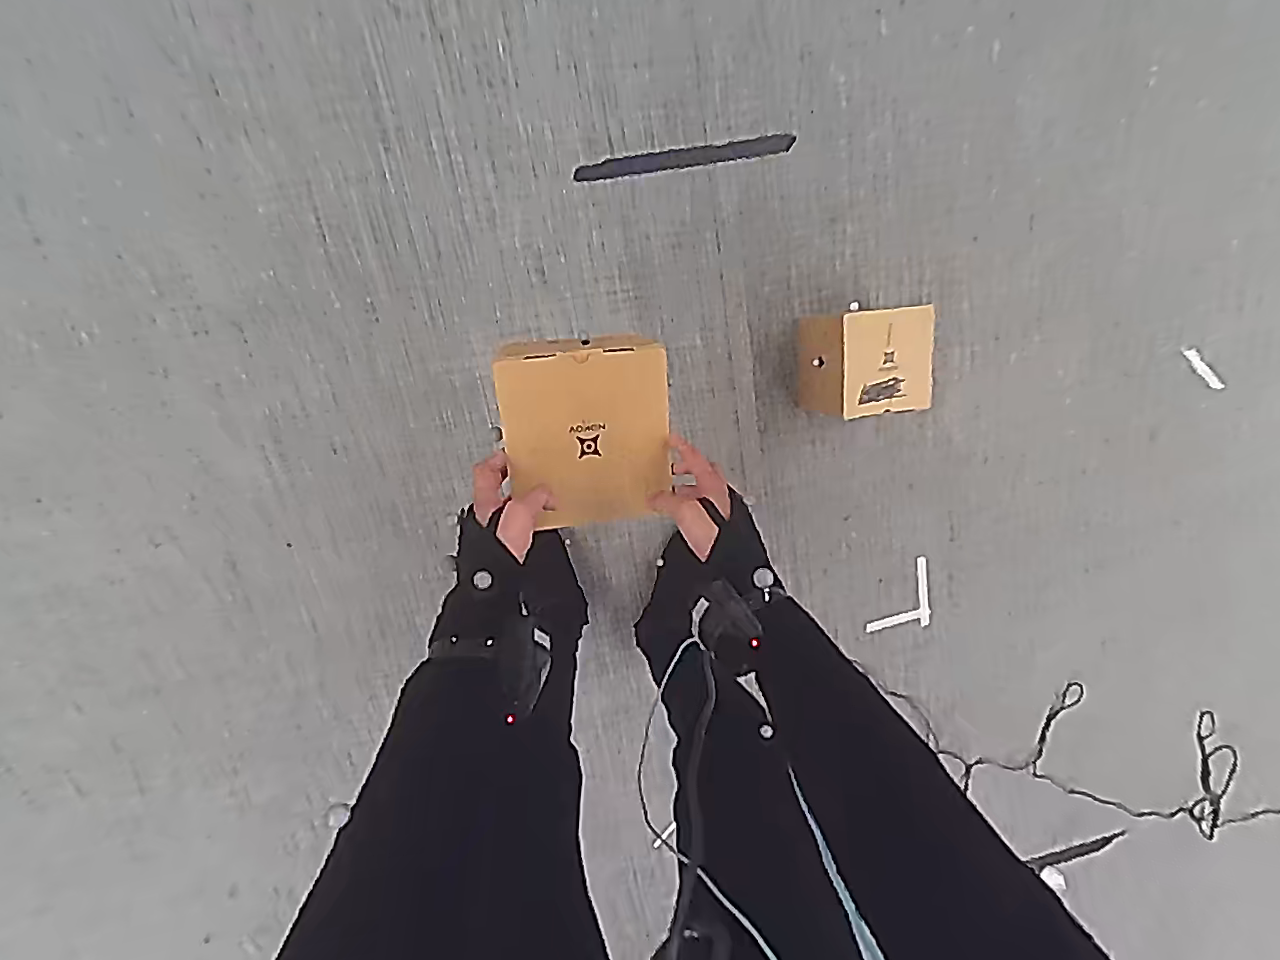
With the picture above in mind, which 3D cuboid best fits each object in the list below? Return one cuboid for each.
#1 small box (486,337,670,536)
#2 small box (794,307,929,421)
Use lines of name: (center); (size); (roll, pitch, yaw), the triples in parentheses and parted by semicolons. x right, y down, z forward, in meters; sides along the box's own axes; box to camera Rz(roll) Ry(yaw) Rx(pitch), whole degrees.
small box: (-0.066, -0.058, 0.596); (0.168, 0.176, 0.179); (-7, 108, -8)
small box: (0.389, -0.210, 0.975); (0.168, 0.176, 0.179); (-8, 104, -9)
